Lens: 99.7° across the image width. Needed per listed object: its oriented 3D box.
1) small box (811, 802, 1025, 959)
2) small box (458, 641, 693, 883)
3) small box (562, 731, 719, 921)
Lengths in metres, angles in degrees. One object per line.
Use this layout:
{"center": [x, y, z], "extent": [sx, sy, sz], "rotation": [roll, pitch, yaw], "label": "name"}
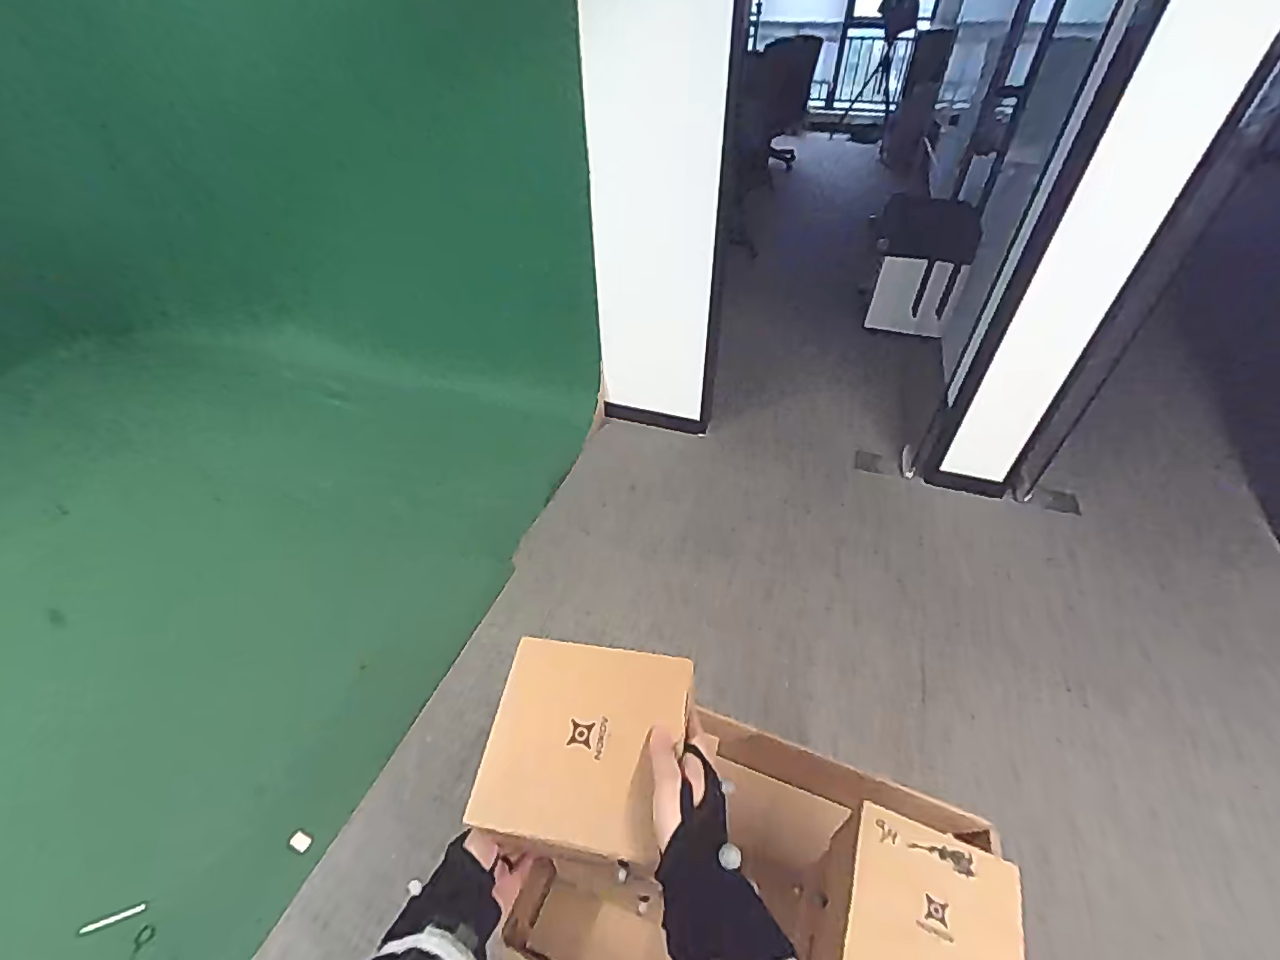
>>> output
{"center": [0.300, 0.509, 0.604], "extent": [0.168, 0.176, 0.179], "rotation": [17, 47, 18], "label": "small box"}
{"center": [-0.044, 0.279, 0.532], "extent": [0.179, 0.176, 0.168], "rotation": [5, 51, 9], "label": "small box"}
{"center": [-0.001, 0.427, 0.697], "extent": [0.168, 0.176, 0.179], "rotation": [13, 44, 13], "label": "small box"}
